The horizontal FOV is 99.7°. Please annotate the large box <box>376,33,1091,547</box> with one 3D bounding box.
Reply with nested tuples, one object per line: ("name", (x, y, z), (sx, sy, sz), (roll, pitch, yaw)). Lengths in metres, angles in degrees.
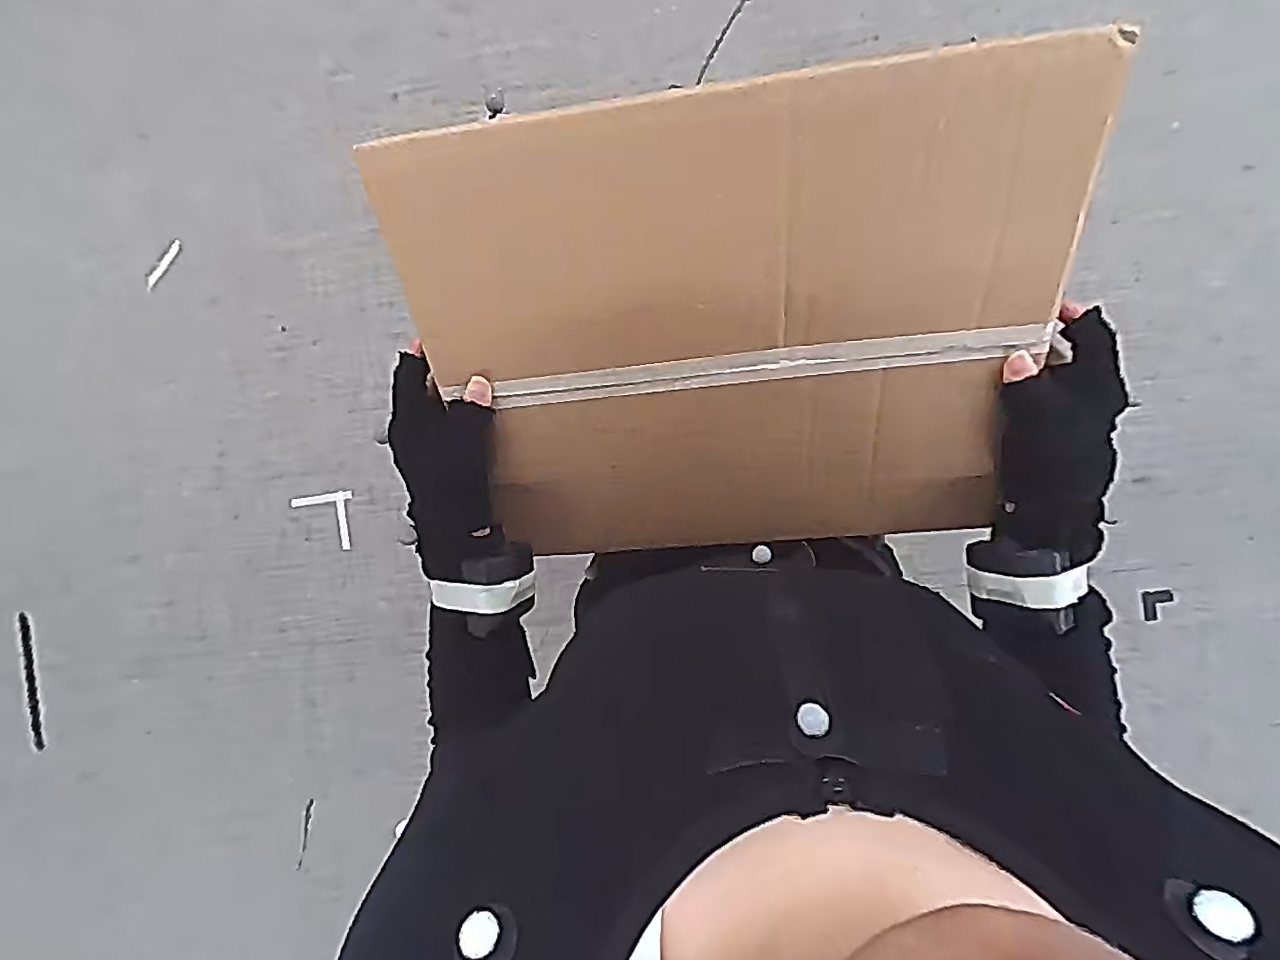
("large box", (0.062, -0.166, 0.502), (0.408, 0.320, 0.320), (-5, 125, 6))
